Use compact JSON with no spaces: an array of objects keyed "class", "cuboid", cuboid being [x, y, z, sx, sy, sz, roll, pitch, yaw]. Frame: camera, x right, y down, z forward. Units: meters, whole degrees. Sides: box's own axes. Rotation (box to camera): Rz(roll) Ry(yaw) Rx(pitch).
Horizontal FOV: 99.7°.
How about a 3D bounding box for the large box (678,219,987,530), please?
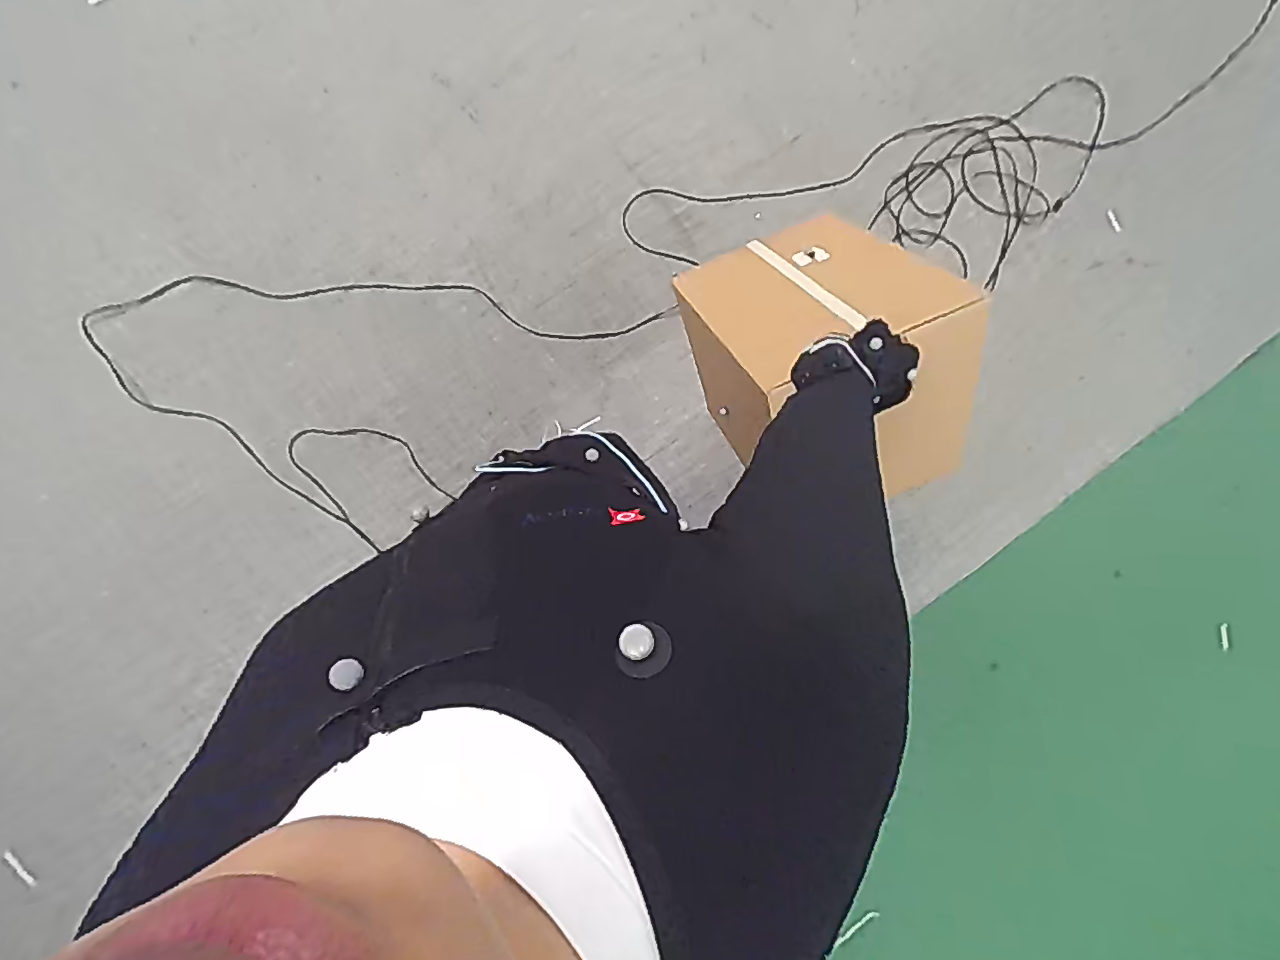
[{"class":"large box","cuboid":[0.305,-0.192,0.937,0.320,0.408,0.320,-23,132,1]}]
